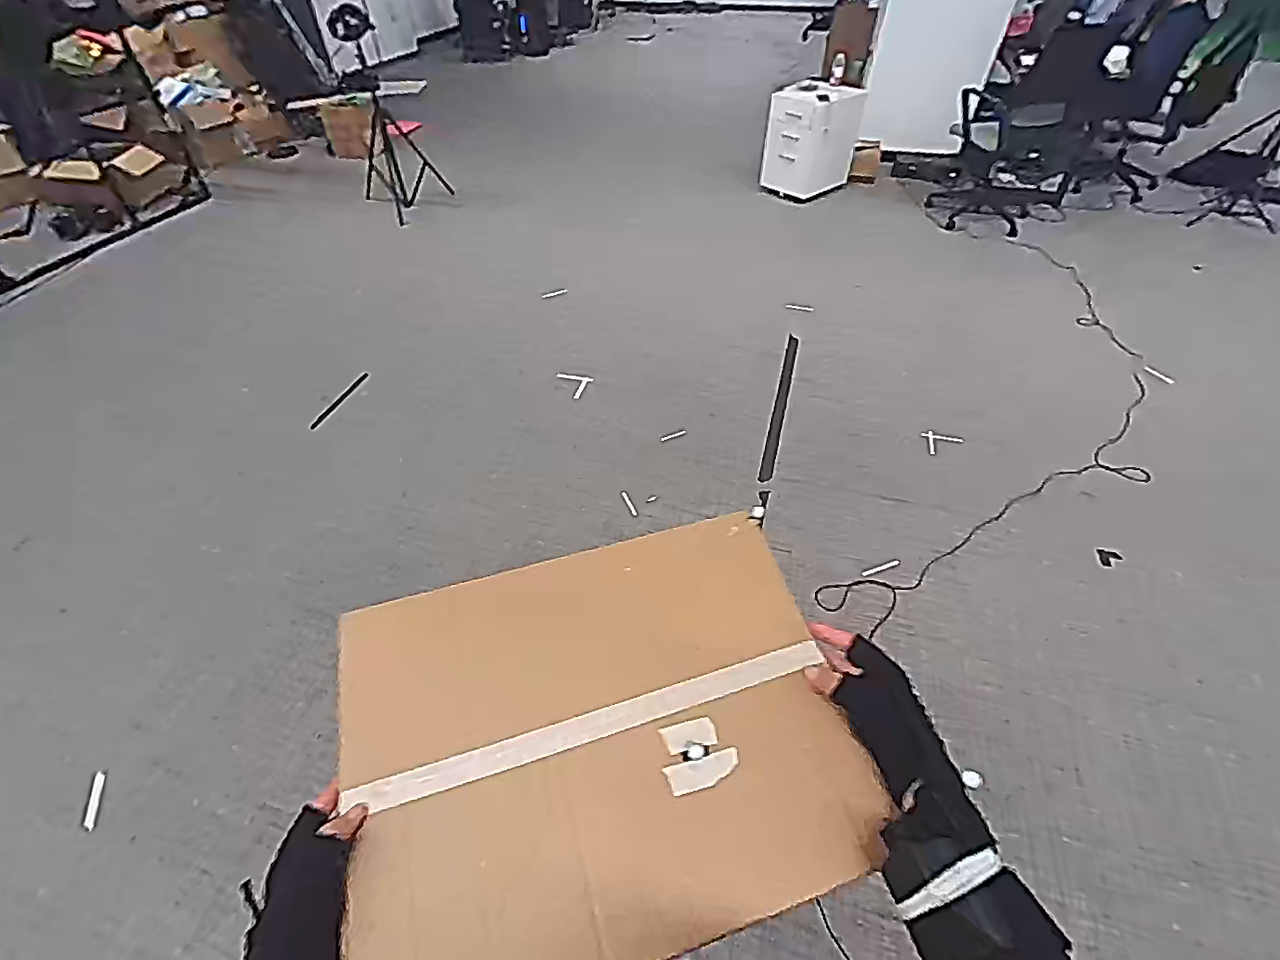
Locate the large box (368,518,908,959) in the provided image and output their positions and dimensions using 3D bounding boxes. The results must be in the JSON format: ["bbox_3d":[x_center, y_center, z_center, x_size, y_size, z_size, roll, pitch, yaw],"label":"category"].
[{"bbox_3d":[-0.026,0.290,0.584,0.408,0.320,0.320,-13,58,-11],"label":"large box"}]
